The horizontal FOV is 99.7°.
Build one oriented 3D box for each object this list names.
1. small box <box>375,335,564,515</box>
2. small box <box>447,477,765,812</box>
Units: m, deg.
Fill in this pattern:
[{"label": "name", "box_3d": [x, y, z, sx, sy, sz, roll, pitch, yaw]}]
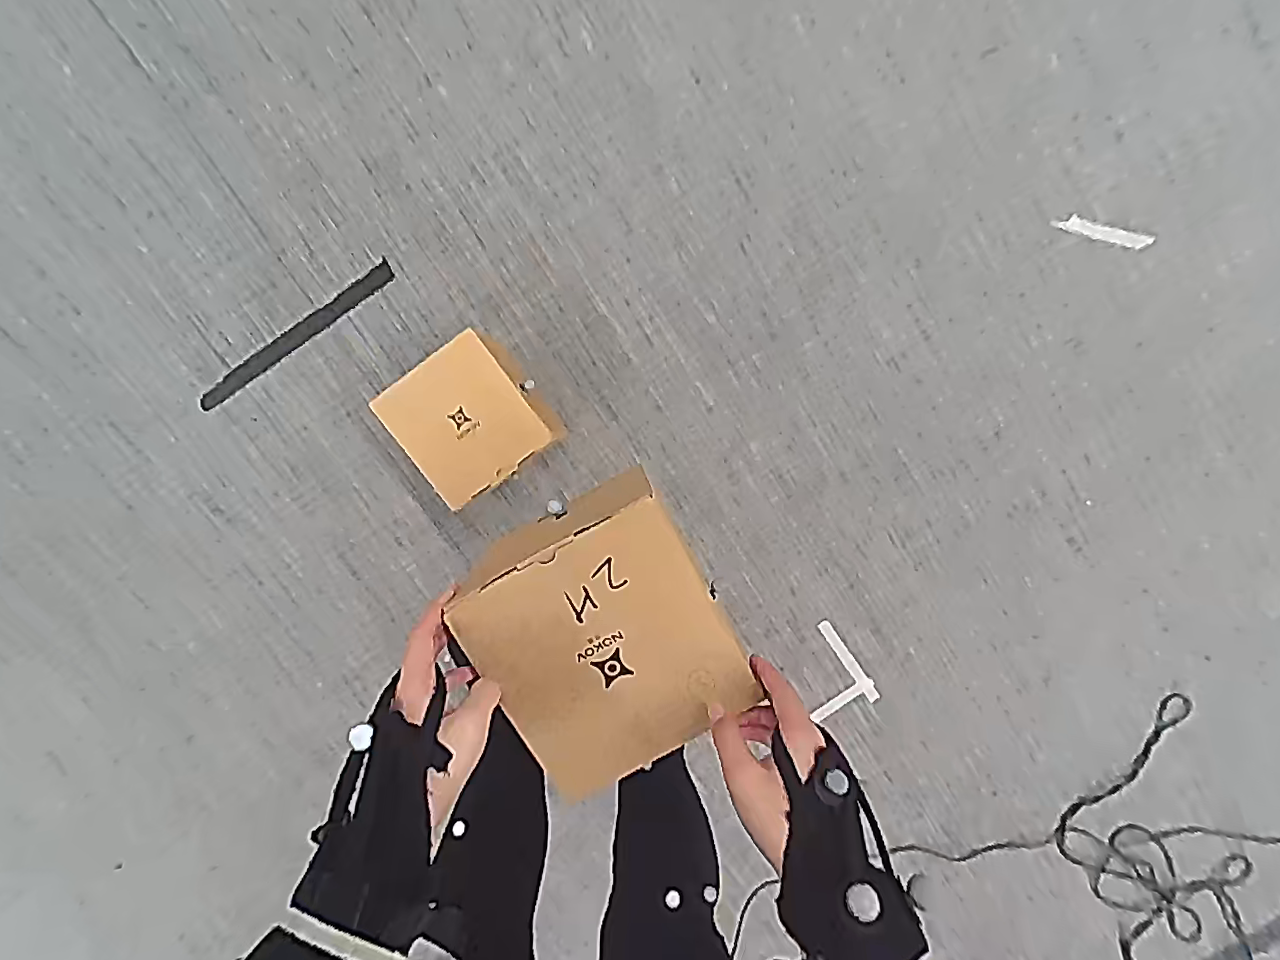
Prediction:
[{"label": "small box", "box_3d": [-0.226, -0.077, 0.768, 0.168, 0.176, 0.179, -36, 98, 2]}, {"label": "small box", "box_3d": [-0.023, 0.116, 0.451, 0.168, 0.176, 0.179, -29, 99, 1]}]
